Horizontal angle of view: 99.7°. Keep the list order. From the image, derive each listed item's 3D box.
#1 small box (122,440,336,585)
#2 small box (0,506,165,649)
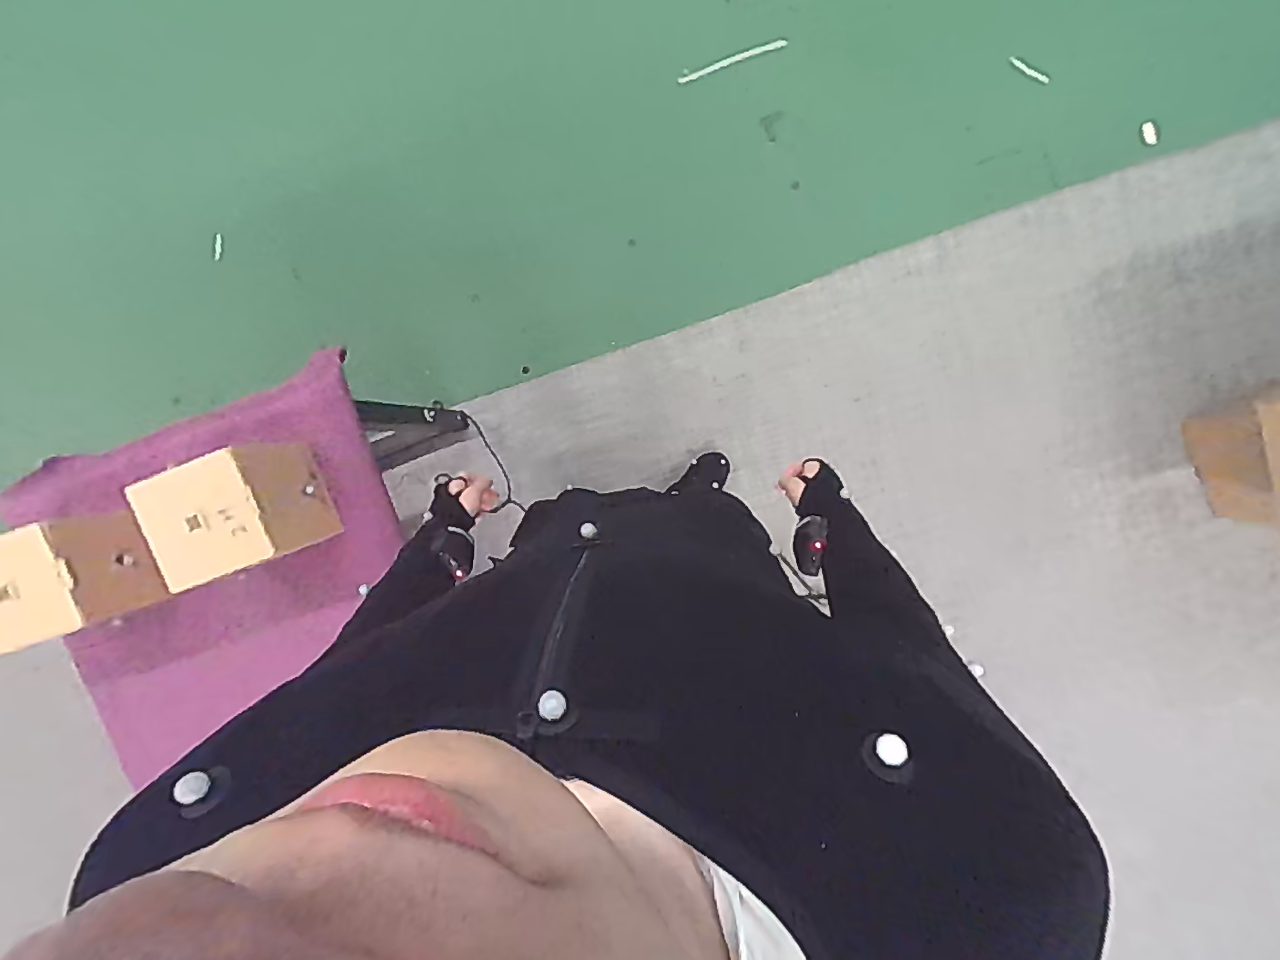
[{"bbox_3d":[-0.625,0.041,0.845,0.179,0.176,0.168,-19,96,4],"label":"small box"},{"bbox_3d":[-0.921,0.149,0.867,0.179,0.176,0.168,-18,94,1],"label":"small box"}]
